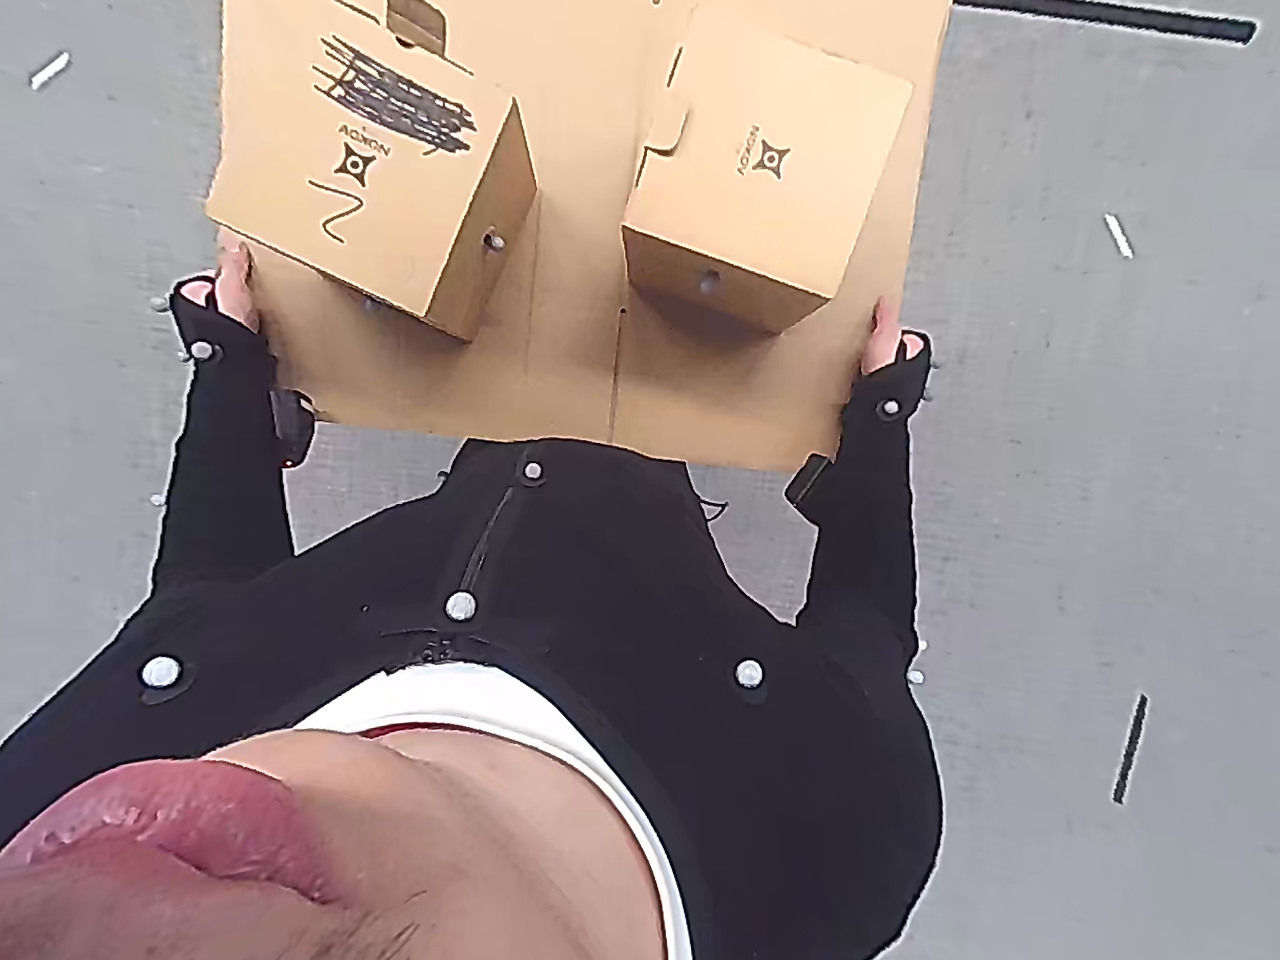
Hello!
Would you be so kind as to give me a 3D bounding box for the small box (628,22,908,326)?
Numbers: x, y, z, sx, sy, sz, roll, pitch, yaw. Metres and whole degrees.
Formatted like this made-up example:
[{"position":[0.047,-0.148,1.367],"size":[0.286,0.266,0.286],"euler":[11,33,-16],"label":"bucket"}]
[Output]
[{"position":[0.100,-0.253,0.499],"size":[0.179,0.176,0.168],"euler":[19,96,0],"label":"small box"}]
